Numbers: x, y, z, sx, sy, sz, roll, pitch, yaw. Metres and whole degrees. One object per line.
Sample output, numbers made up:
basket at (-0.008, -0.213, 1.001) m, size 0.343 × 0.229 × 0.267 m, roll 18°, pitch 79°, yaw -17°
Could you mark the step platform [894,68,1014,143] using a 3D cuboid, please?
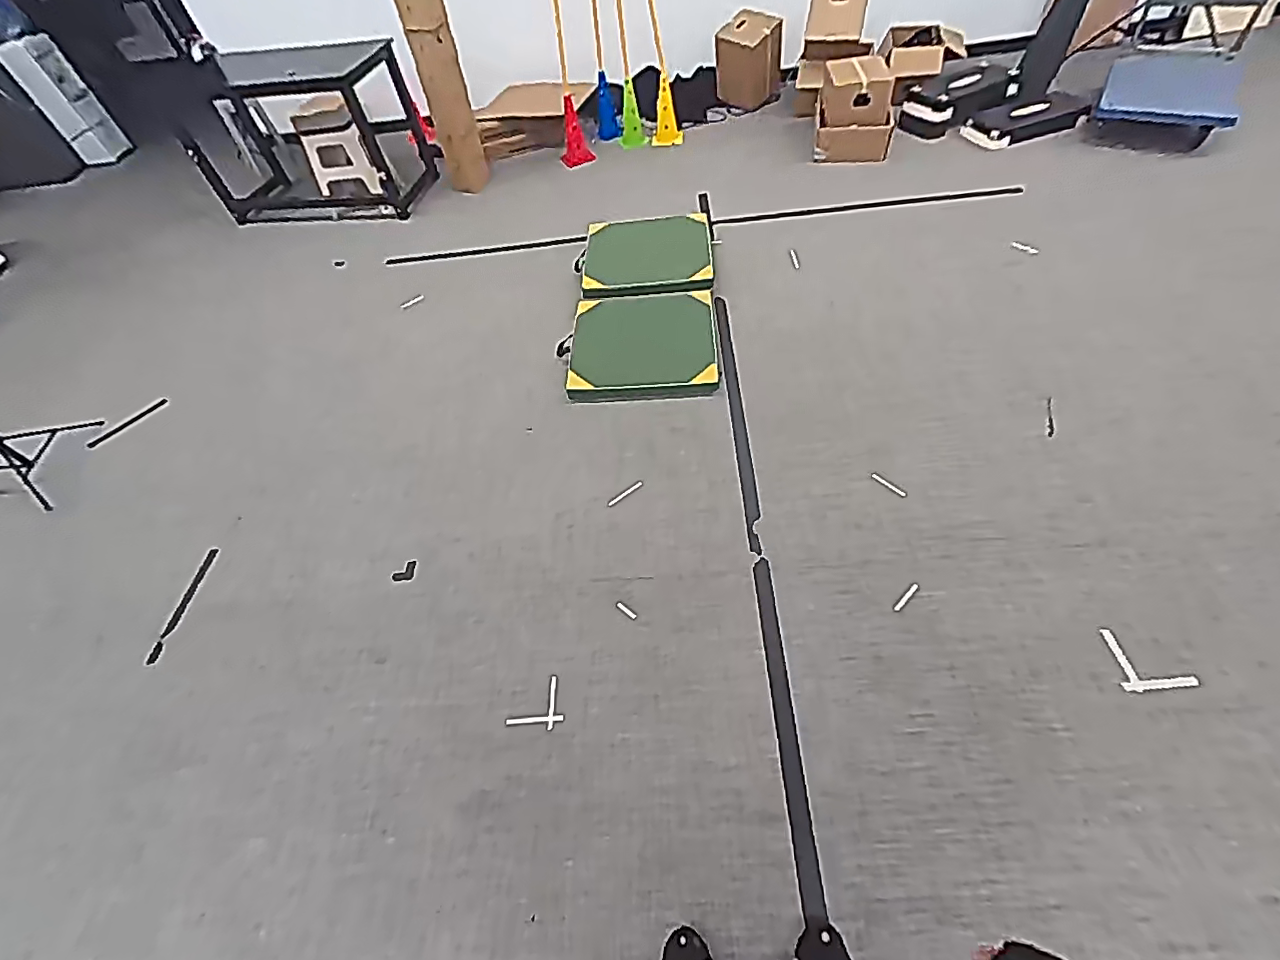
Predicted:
step platform at (1.894, -2.264, 3.258) m, size 0.684 × 0.204 × 0.286 m, roll -28°, pitch 54°, yaw -13°
